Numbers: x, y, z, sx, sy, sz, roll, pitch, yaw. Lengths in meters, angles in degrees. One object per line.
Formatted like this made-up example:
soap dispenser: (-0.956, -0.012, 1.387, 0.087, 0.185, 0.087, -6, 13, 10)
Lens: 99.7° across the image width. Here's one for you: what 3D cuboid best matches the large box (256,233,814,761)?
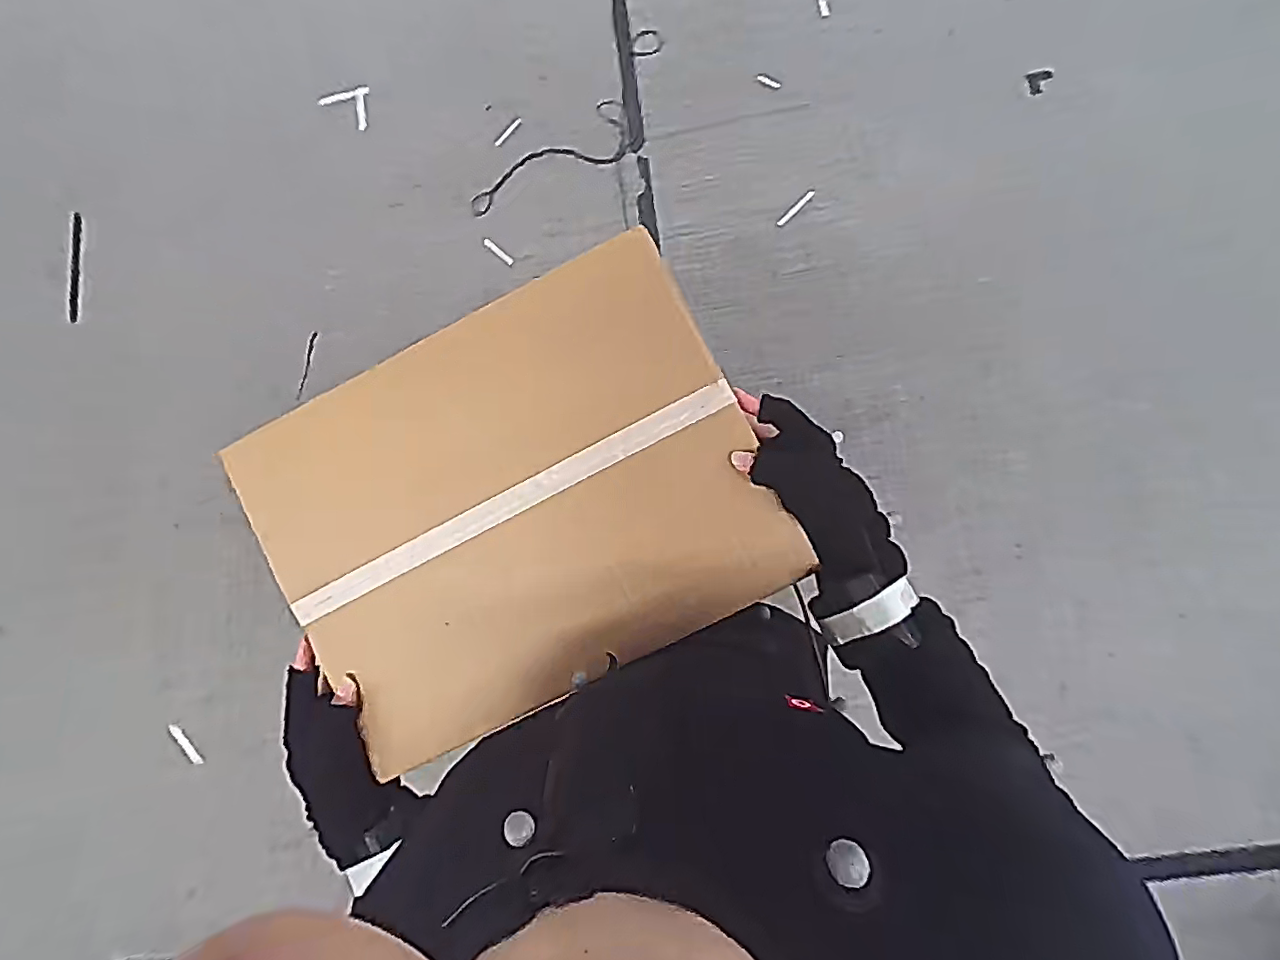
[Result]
large box: (-0.088, 0.021, 0.602, 0.408, 0.320, 0.320, -26, 88, 4)
